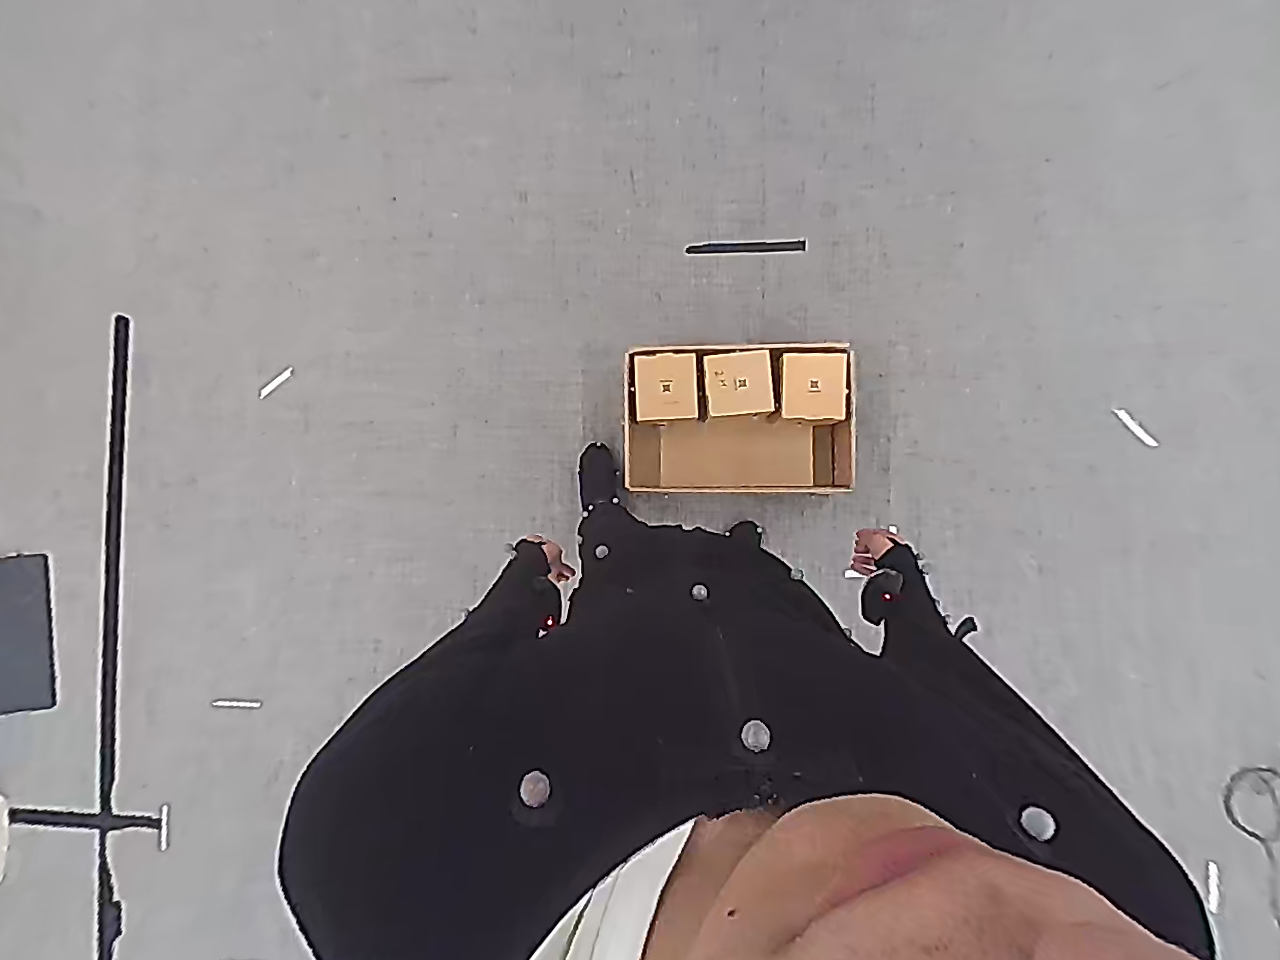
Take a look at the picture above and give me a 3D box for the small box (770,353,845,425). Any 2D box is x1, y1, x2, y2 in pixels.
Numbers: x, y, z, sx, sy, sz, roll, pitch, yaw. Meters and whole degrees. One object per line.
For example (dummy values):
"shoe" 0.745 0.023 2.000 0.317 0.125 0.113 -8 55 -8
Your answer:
"small box" 0.459 -0.249 1.501 0.168 0.176 0.179 0 92 4
